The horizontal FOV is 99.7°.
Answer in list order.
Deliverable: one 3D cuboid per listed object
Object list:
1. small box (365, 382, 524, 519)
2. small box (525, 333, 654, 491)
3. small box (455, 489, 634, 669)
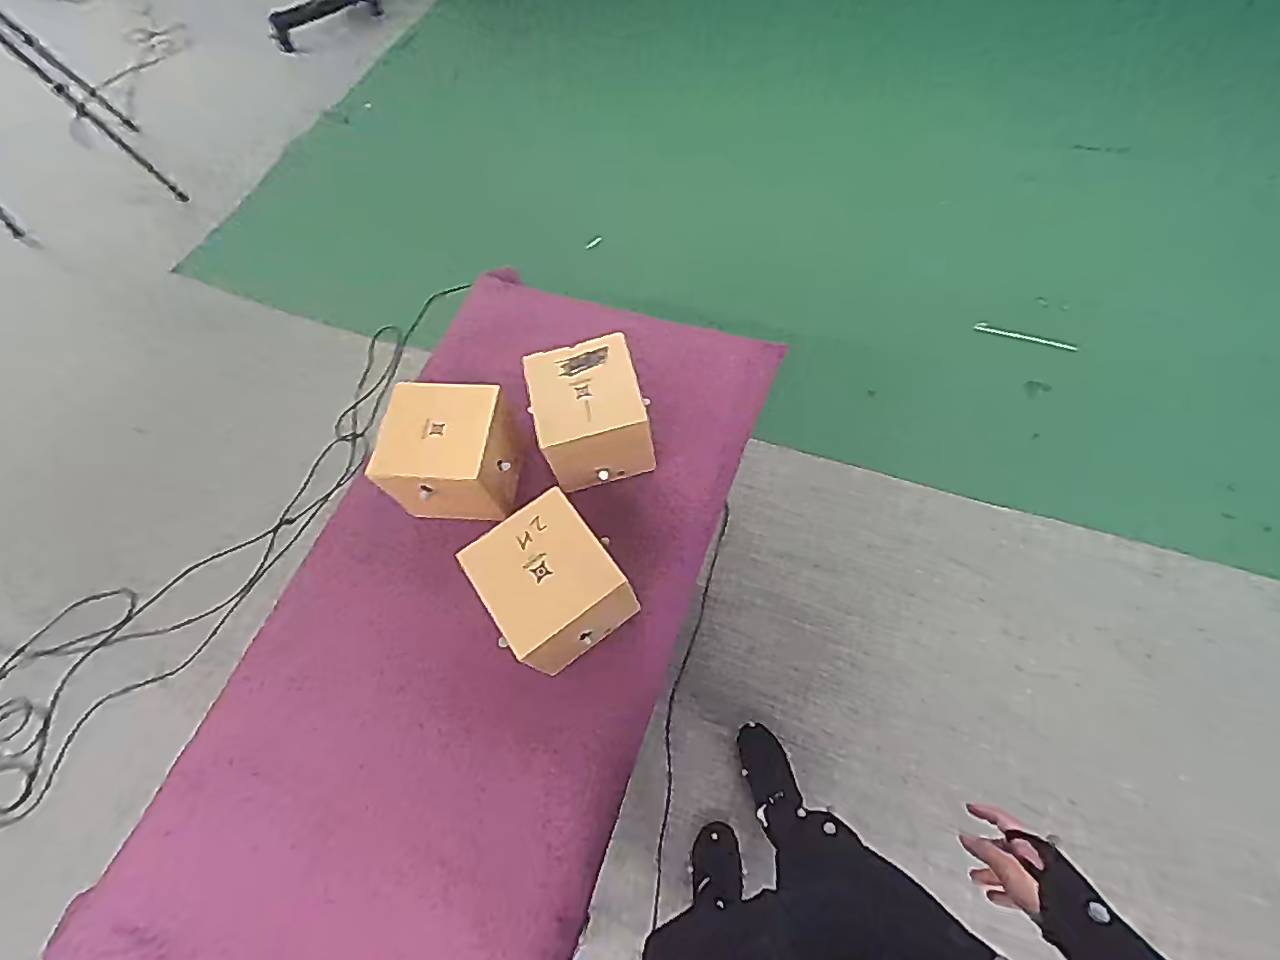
[{"bbox_3d":[-0.302,-0.042,0.883,0.179,0.176,0.168,3,65,7],"label":"small box"},{"bbox_3d":[-0.078,-0.105,0.887,0.168,0.176,0.179,-15,65,-1],"label":"small box"},{"bbox_3d":[-0.124,0.149,0.768,0.168,0.176,0.179,-35,66,-11],"label":"small box"}]
